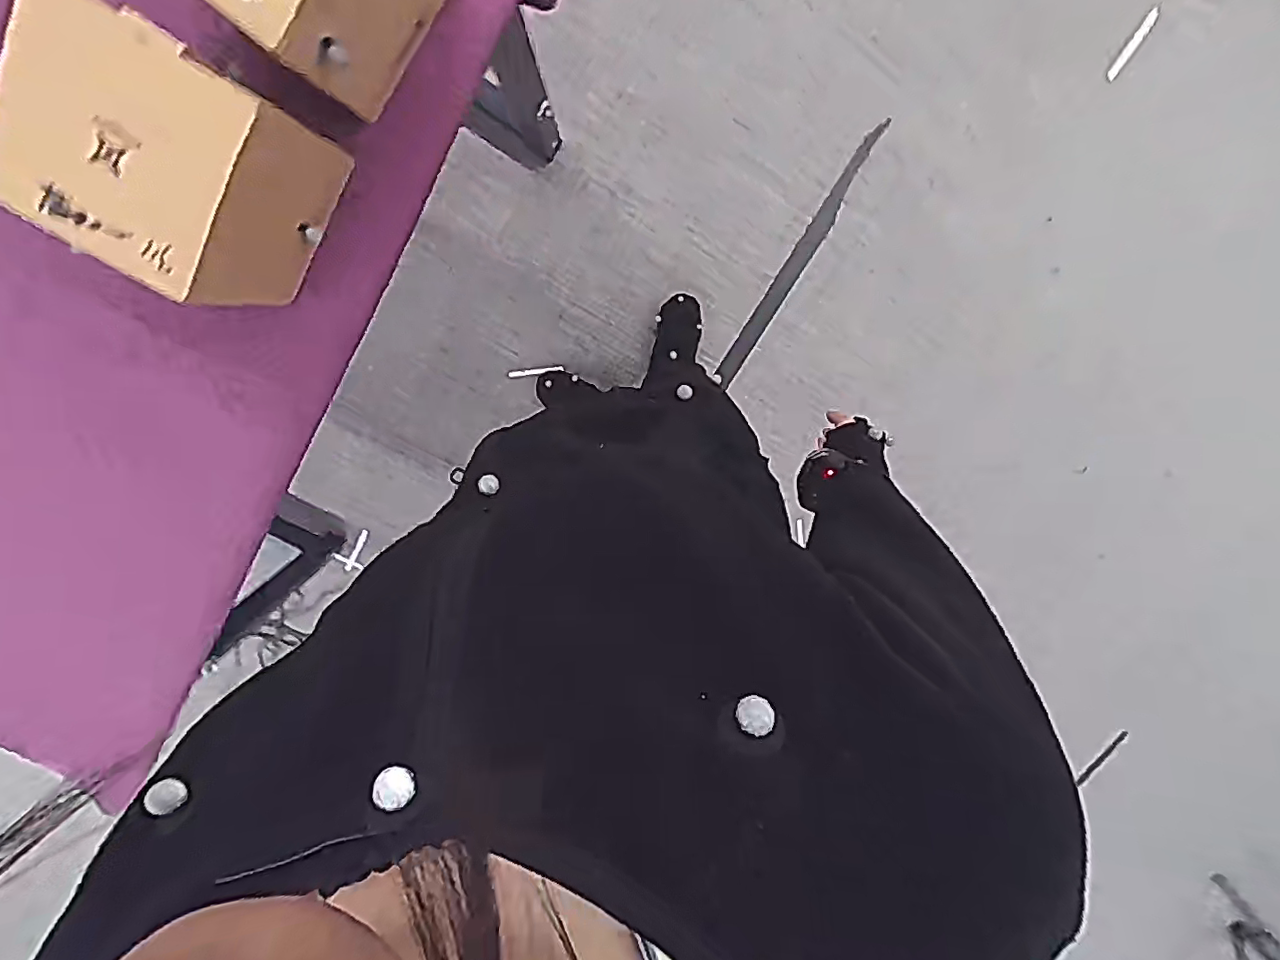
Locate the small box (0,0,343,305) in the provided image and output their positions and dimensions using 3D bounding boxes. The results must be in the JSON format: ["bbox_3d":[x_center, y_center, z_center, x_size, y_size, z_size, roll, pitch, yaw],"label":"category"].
[{"bbox_3d":[-0.405,-0.280,0.491,0.168,0.176,0.179,30,103,-12],"label":"small box"}]
